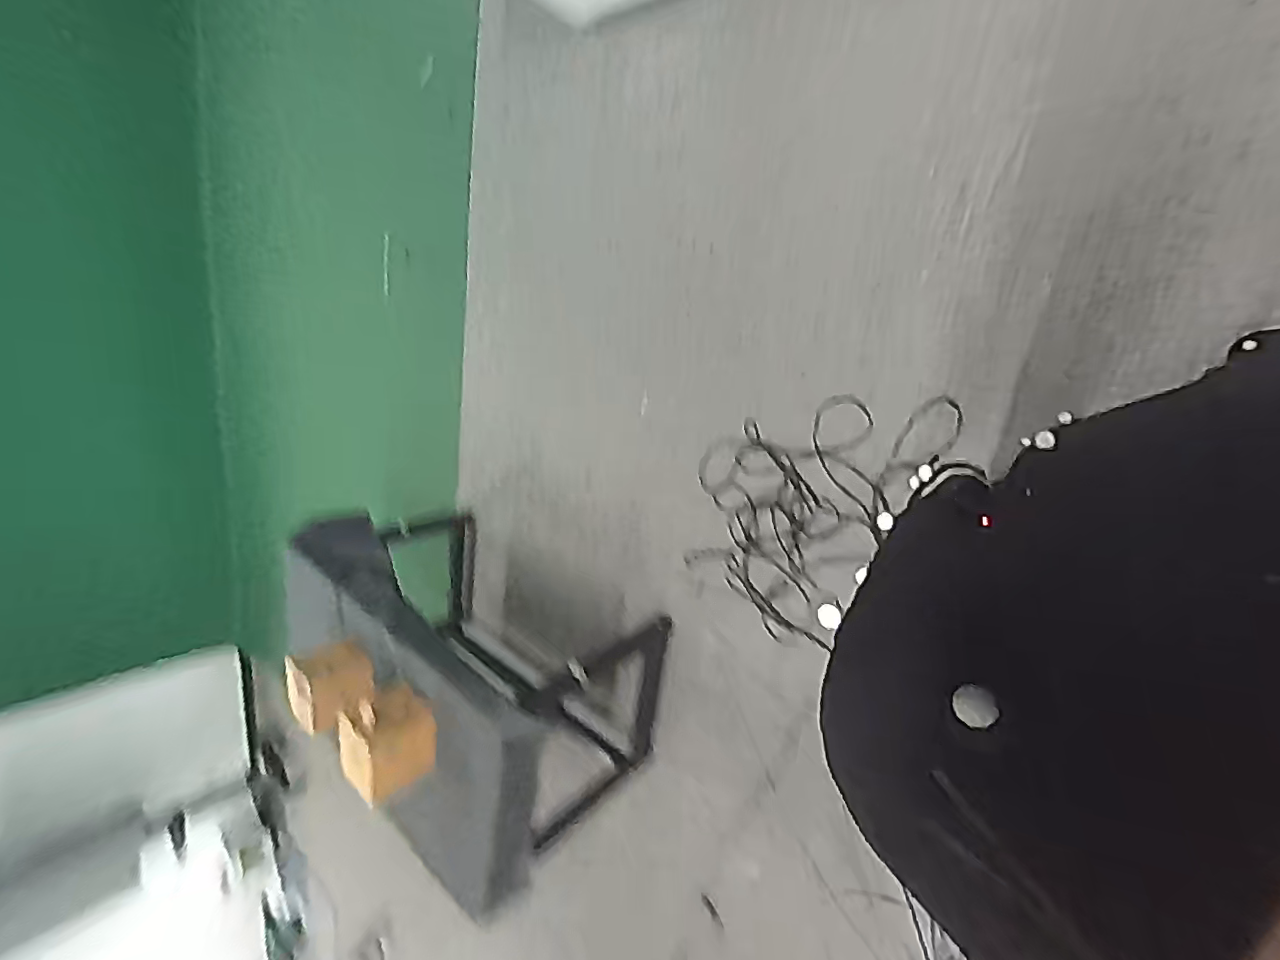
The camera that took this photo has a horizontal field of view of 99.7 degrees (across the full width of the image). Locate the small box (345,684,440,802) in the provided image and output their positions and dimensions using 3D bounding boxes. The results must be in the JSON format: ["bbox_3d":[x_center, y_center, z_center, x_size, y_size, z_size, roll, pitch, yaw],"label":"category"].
[{"bbox_3d":[-0.633,0.665,1.389,0.168,0.176,0.179,20,110,36],"label":"small box"}]
